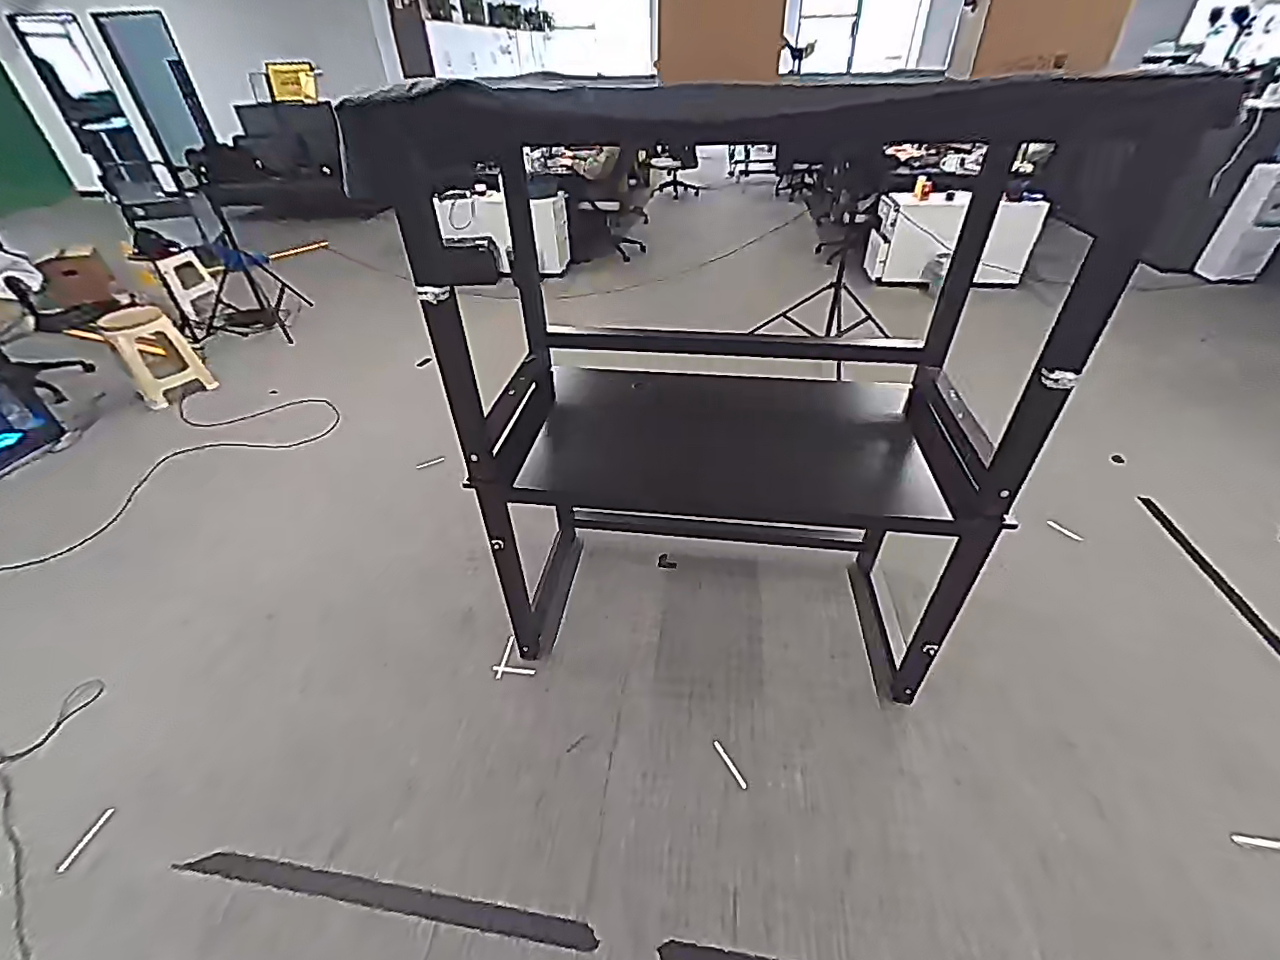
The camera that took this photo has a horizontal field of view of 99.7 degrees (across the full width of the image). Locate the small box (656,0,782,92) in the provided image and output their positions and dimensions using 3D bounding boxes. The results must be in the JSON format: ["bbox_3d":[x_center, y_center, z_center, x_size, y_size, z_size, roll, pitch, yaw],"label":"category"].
[{"bbox_3d":[0.114,-0.682,0.802,0.179,0.176,0.168,2,37,4],"label":"small box"}]
